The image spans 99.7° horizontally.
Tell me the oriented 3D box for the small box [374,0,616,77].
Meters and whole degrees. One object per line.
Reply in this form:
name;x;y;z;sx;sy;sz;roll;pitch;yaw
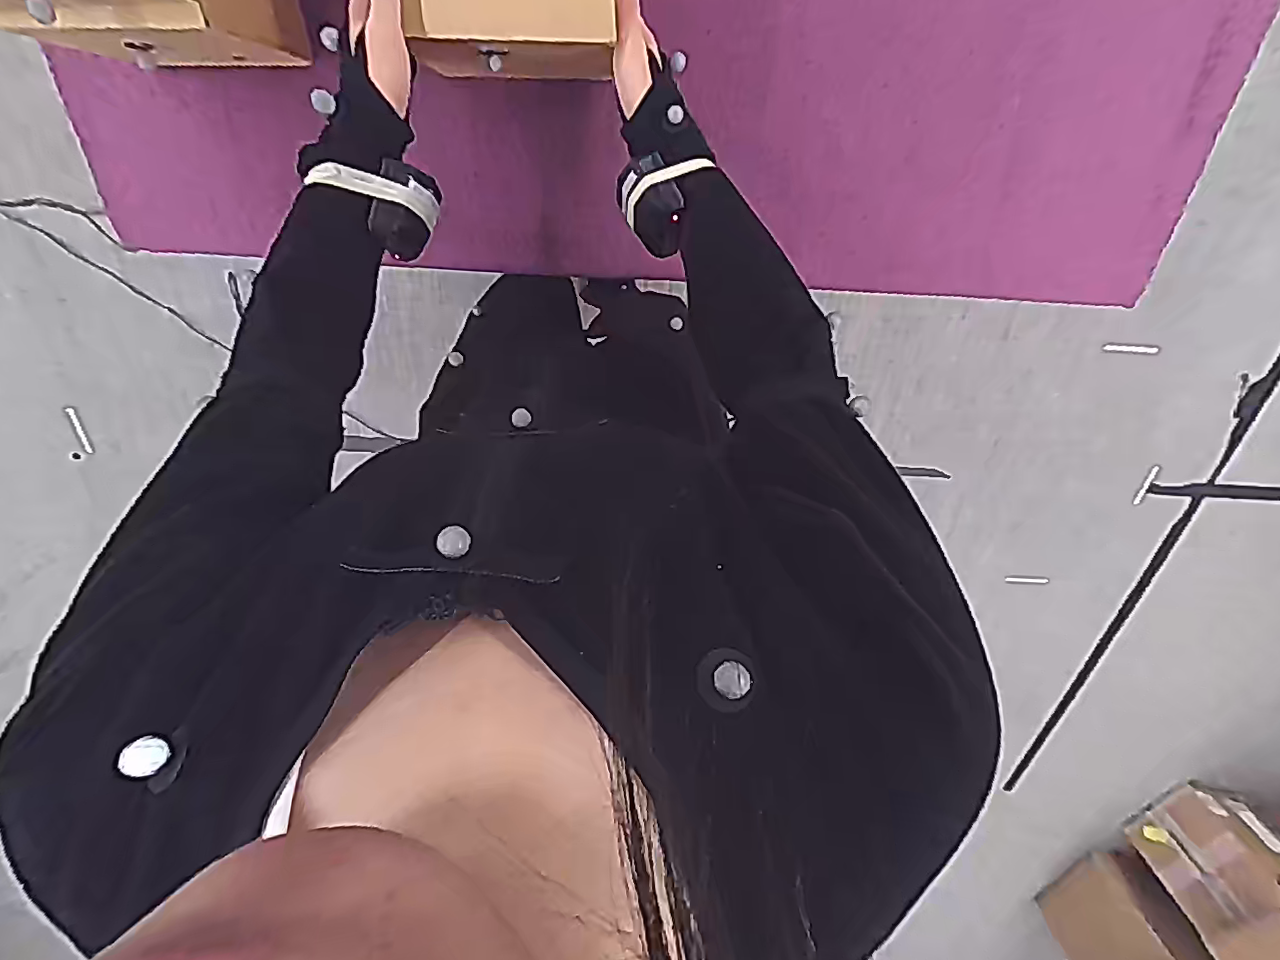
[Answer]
small box;-0.108;-0.442;0.437;0.179;0.176;0.168;0;119;-3

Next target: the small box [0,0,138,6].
small box;-0.403;-0.374;0.278;0.179;0.176;0.168;-3;119;-1

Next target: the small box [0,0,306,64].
small box;-0.403;-0.447;0.425;0.168;0.176;0.179;-1;119;-1
